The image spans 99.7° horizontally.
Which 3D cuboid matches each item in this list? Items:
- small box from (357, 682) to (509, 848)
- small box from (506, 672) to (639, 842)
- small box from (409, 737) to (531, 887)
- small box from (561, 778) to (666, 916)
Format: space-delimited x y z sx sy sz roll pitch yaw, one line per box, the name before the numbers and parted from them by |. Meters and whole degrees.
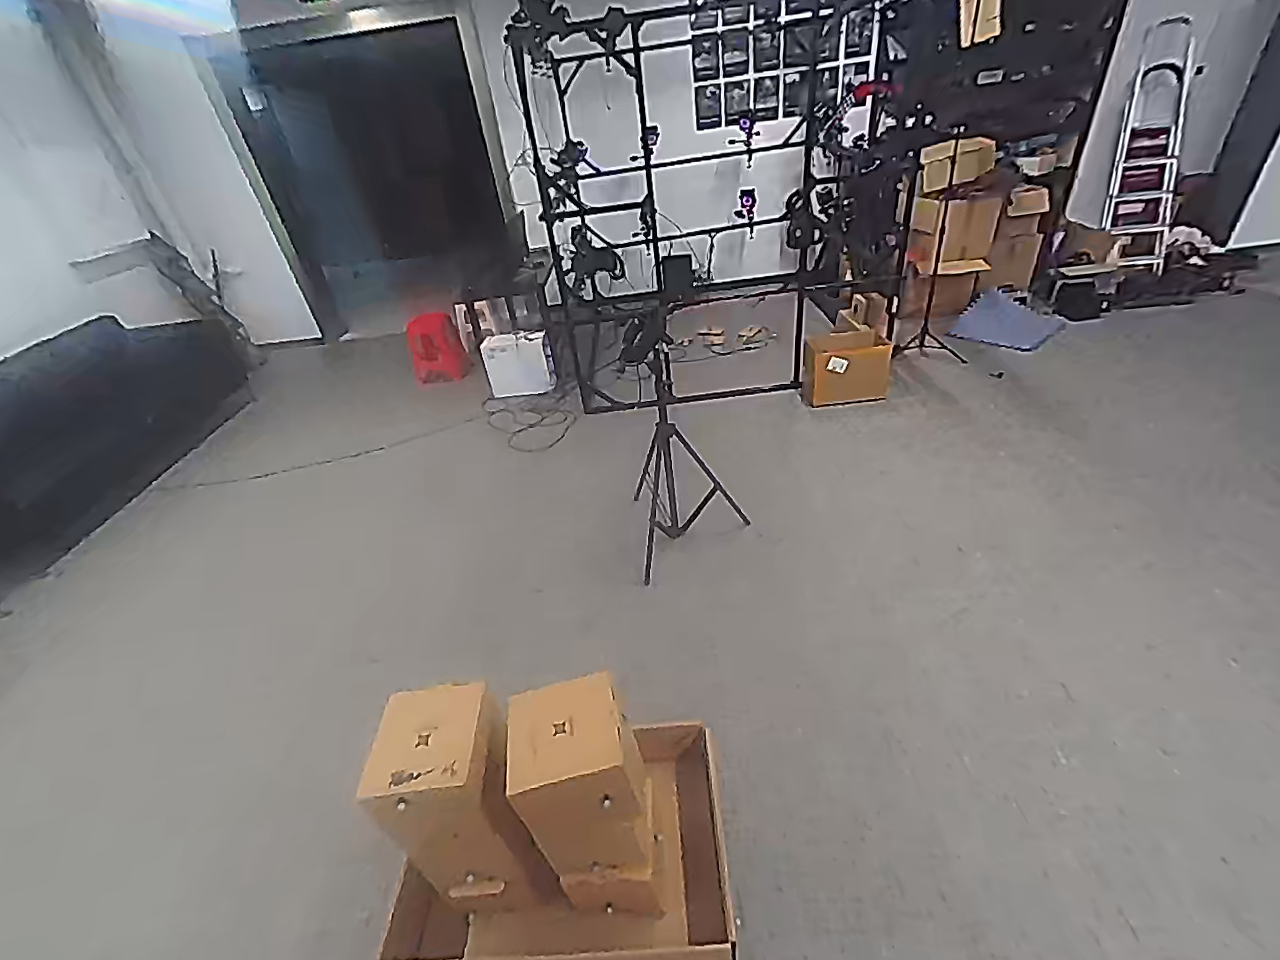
small box | -0.323 0.466 0.890 0.168 0.176 0.179 -9 33 2
small box | -0.103 0.447 0.875 0.179 0.176 0.168 -15 34 -1
small box | -0.295 0.601 0.983 0.168 0.176 0.179 -8 35 2
small box | -0.043 0.714 1.054 0.168 0.176 0.179 -8 35 7
